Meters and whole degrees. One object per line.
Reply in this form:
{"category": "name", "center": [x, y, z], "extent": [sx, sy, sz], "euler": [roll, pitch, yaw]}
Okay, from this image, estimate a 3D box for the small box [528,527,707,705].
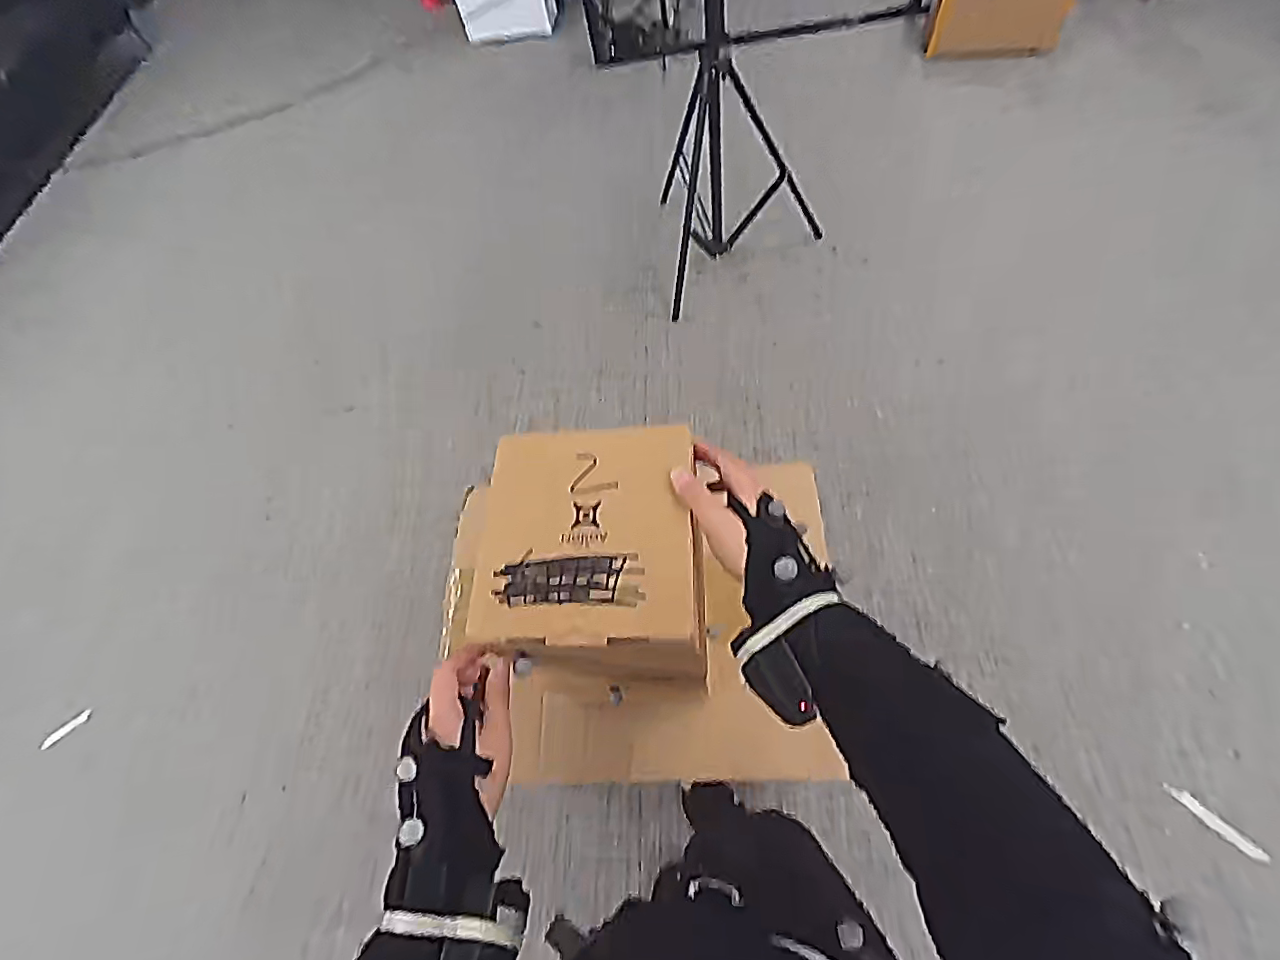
{"category": "small box", "center": [-0.014, 0.163, 0.625], "extent": [0.179, 0.176, 0.168], "euler": [-5, 62, 8]}
